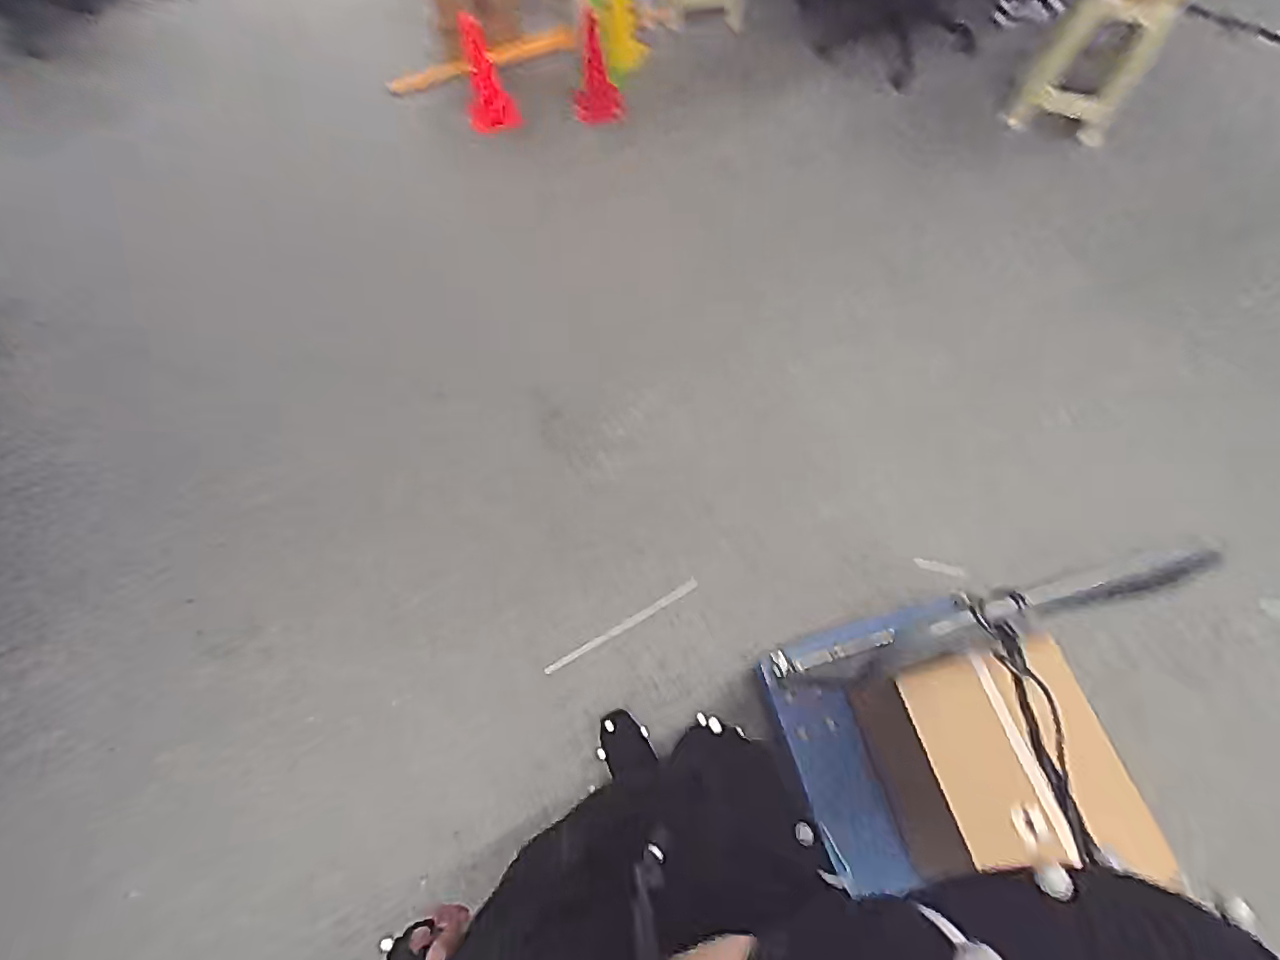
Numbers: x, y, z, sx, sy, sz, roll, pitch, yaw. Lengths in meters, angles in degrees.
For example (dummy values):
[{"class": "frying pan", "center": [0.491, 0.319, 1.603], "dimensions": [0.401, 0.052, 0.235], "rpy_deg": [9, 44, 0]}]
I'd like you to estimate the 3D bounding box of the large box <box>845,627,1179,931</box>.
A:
[{"class": "large box", "center": [0.671, 0.544, 1.065], "dimensions": [0.320, 0.320, 0.408], "rpy_deg": [-16, 69, -4]}]
